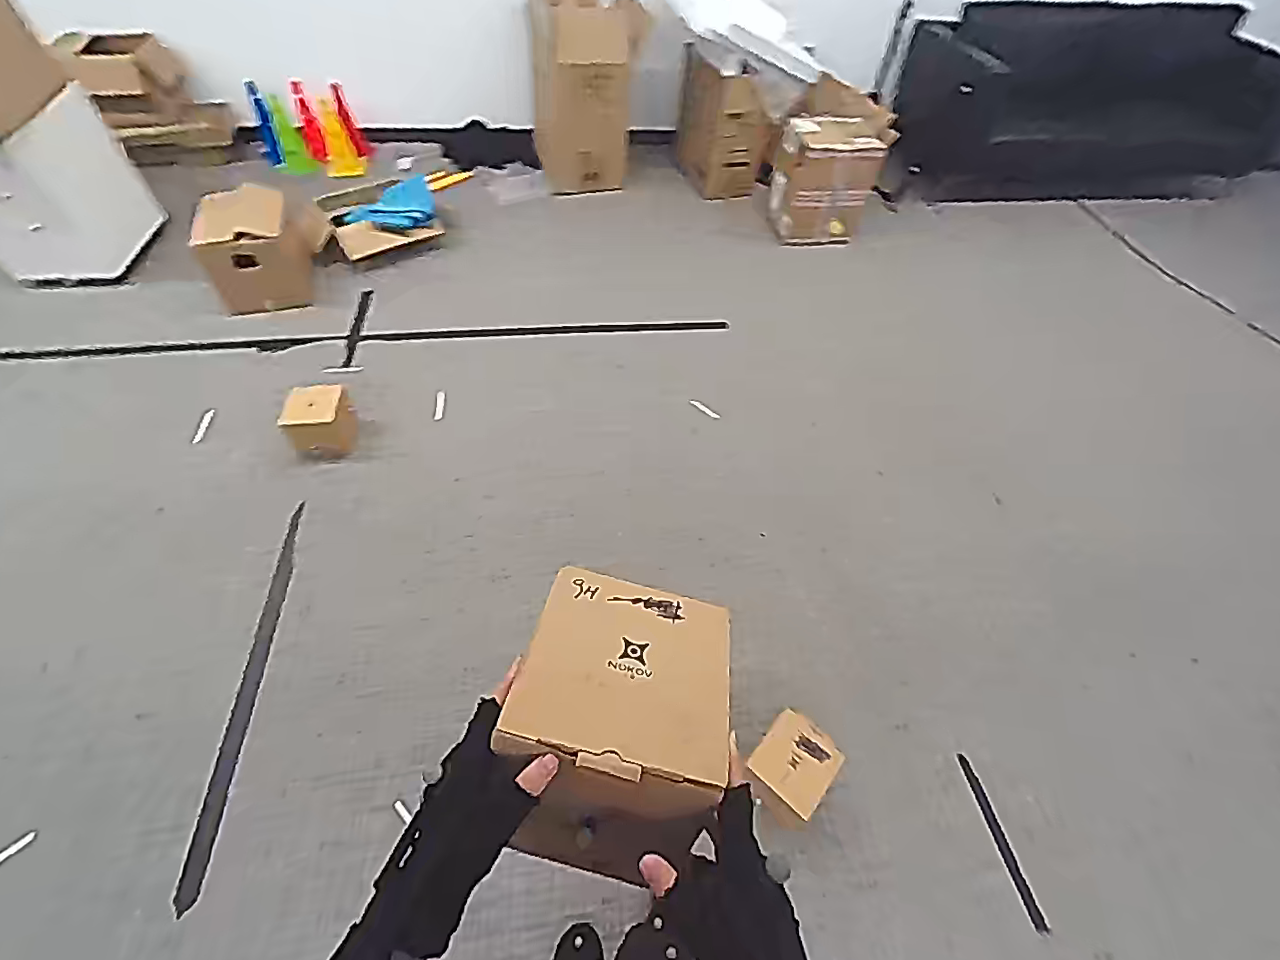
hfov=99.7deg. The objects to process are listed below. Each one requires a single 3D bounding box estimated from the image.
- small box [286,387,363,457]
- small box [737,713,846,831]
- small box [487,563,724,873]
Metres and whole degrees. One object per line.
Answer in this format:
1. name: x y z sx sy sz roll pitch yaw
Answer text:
1. small box: -1.075 -0.199 1.863 0.168 0.176 0.179 -4 54 -7
2. small box: 0.353 0.698 1.291 0.168 0.176 0.179 38 59 23
3. small box: -0.028 0.208 0.482 0.168 0.176 0.179 15 33 0
